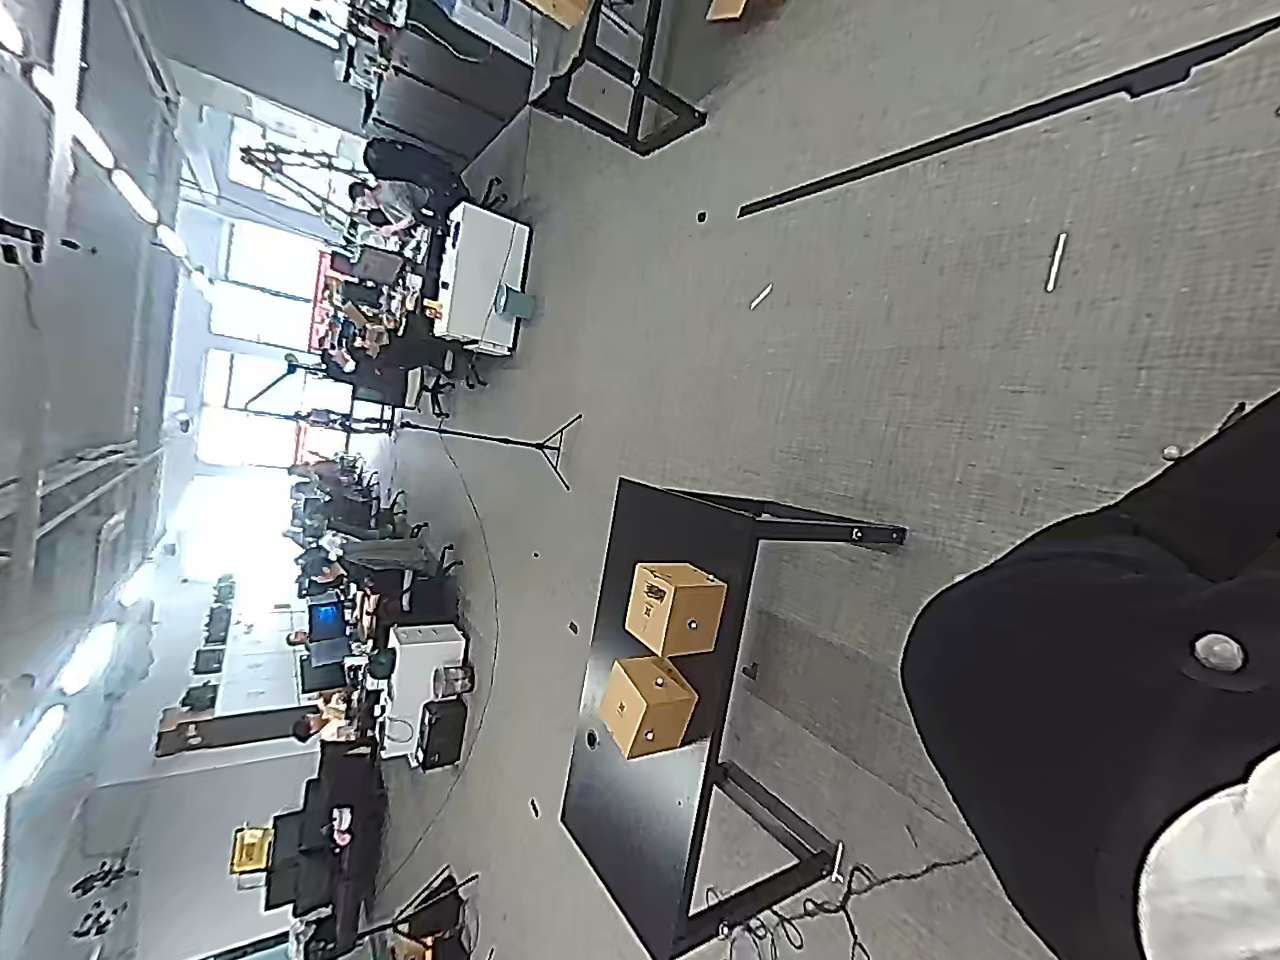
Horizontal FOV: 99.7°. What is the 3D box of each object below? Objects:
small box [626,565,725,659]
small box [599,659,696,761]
[{"bbox_3d":[0.090,0.321,1.348,0.168,0.176,0.179,21,103,55],"label":"small box"},{"bbox_3d":[0.022,0.587,1.405,0.168,0.176,0.179,39,116,52],"label":"small box"}]
